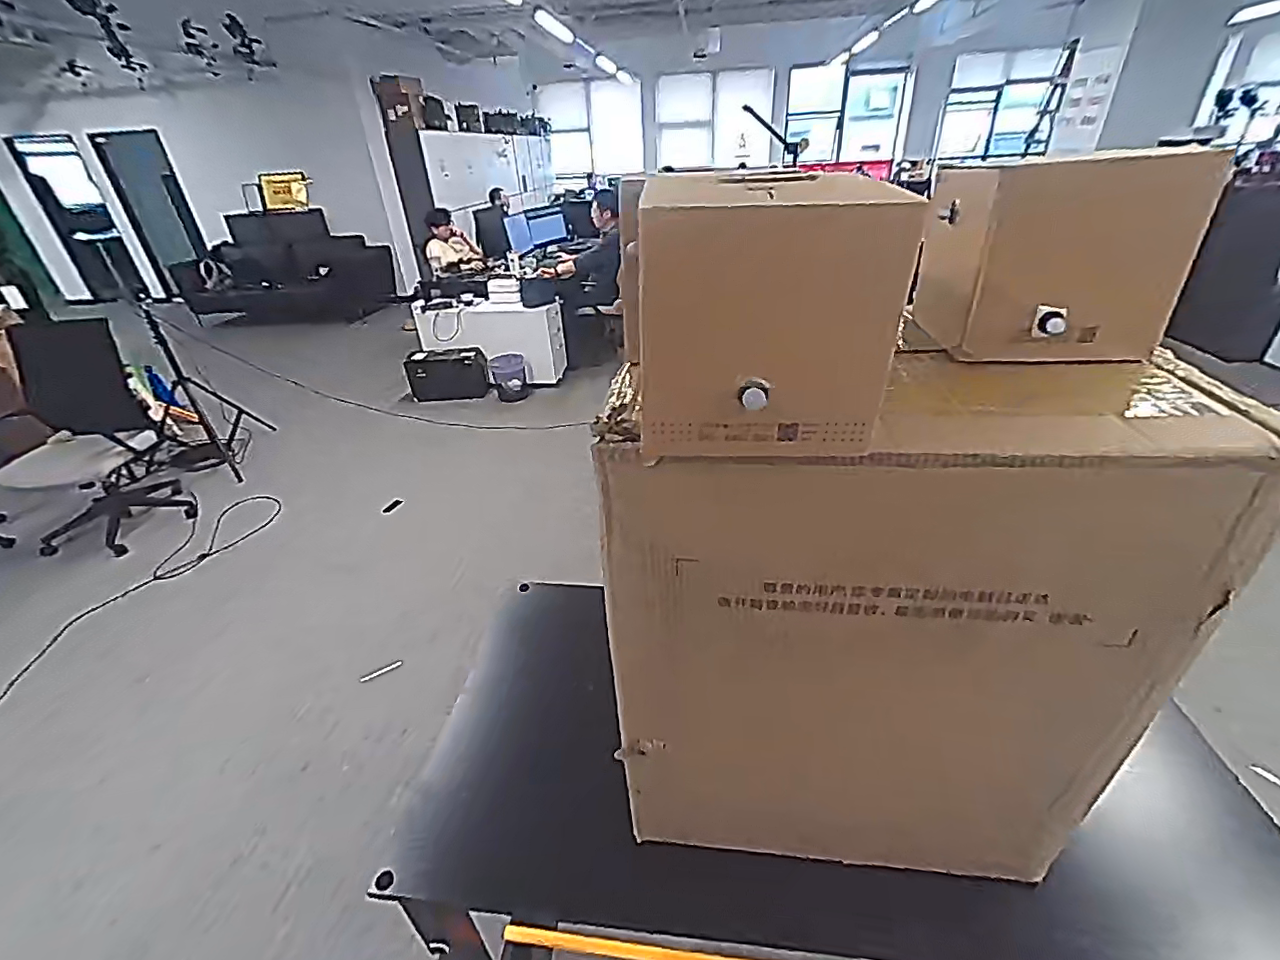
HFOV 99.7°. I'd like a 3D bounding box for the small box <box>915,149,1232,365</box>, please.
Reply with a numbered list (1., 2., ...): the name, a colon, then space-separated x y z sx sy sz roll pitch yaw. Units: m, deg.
1. small box: 0.391 -0.221 0.536 0.168 0.176 0.179 0 31 10
